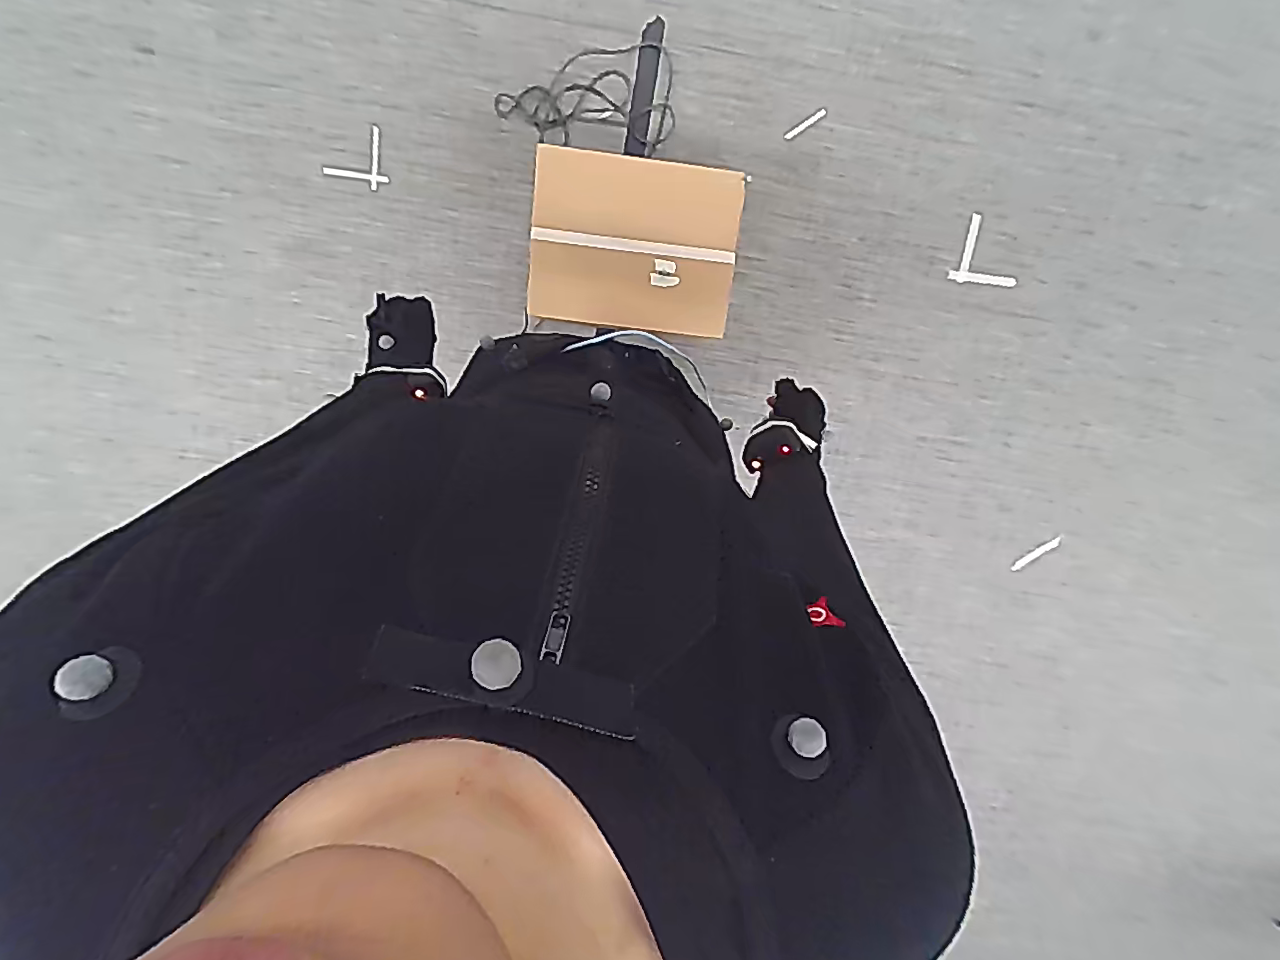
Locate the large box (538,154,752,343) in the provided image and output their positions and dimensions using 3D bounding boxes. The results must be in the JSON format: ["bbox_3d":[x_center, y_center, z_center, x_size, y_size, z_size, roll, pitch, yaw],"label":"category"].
[{"bbox_3d":[-0.003,-0.491,1.220,0.408,0.320,0.320,7,104,-4],"label":"large box"}]
